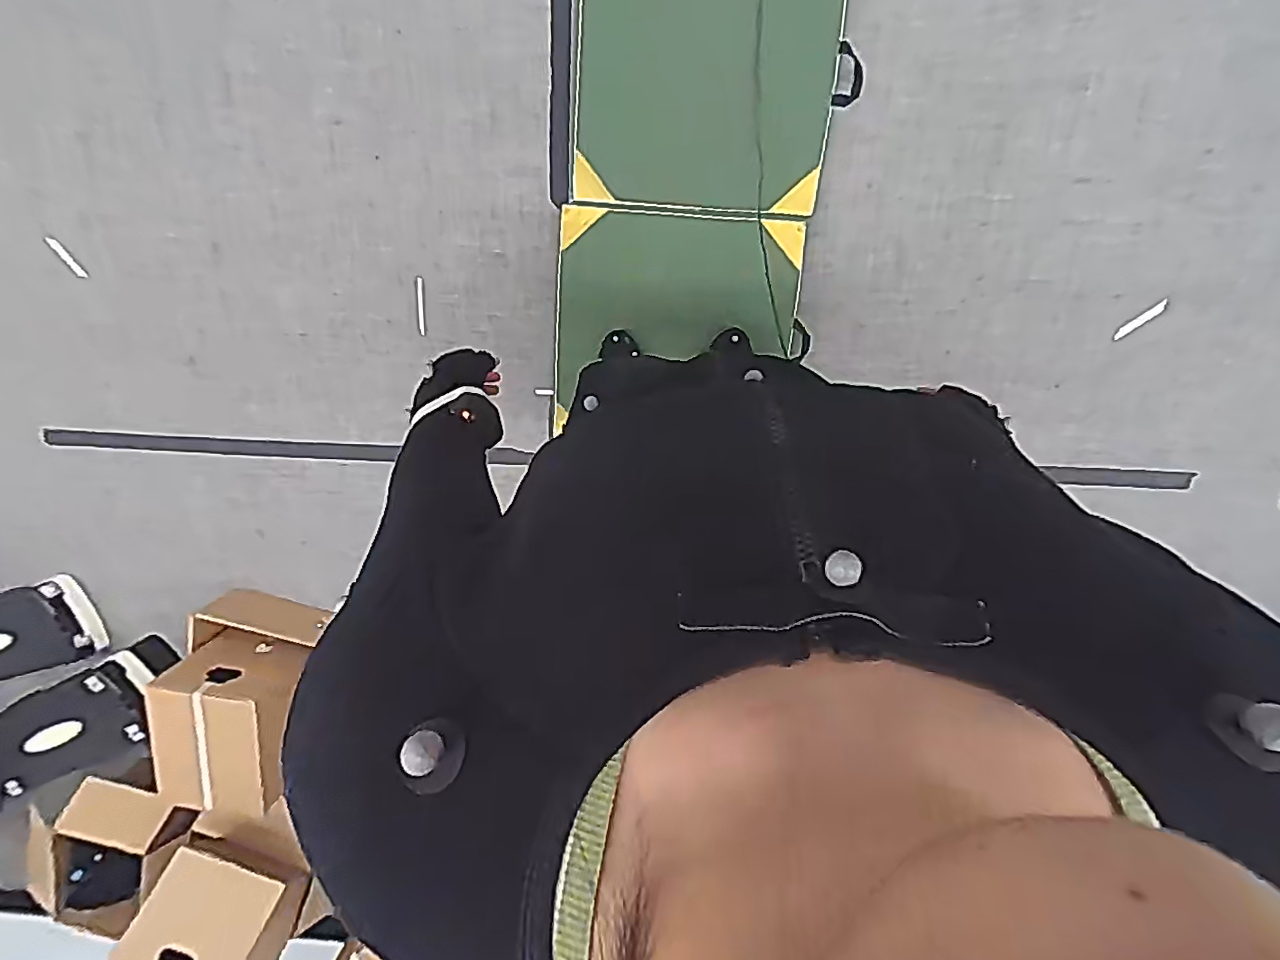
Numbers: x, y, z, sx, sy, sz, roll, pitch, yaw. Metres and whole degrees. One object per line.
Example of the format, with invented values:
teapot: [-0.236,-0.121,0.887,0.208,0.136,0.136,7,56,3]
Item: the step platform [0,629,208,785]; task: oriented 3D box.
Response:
step platform: [-1.858,0.770,1.828,0.684,0.204,0.286,-25,103,9]
